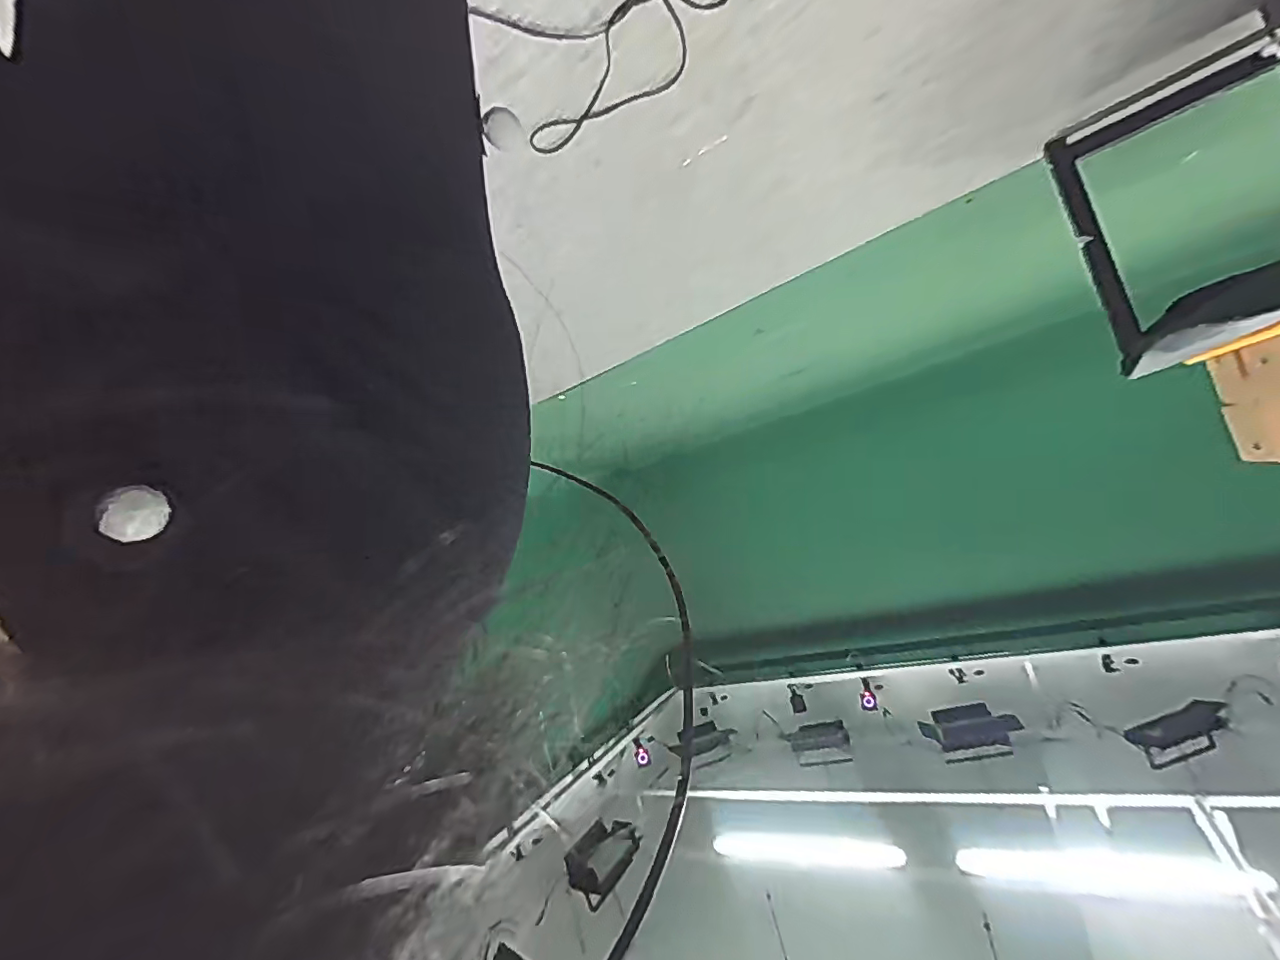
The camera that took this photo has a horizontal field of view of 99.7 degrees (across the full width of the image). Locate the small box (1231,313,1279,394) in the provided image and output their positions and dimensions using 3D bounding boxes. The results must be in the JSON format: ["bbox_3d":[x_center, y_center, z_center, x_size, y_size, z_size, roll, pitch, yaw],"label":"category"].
[{"bbox_3d":[1.505,-0.309,1.216,0.179,0.176,0.168,-19,174,27],"label":"small box"}]

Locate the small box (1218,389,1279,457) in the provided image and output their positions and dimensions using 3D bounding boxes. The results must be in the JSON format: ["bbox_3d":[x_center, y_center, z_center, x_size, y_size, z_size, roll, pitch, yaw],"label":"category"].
[{"bbox_3d":[1.665,-0.165,1.398,0.168,0.176,0.179,-18,175,25],"label":"small box"}]
